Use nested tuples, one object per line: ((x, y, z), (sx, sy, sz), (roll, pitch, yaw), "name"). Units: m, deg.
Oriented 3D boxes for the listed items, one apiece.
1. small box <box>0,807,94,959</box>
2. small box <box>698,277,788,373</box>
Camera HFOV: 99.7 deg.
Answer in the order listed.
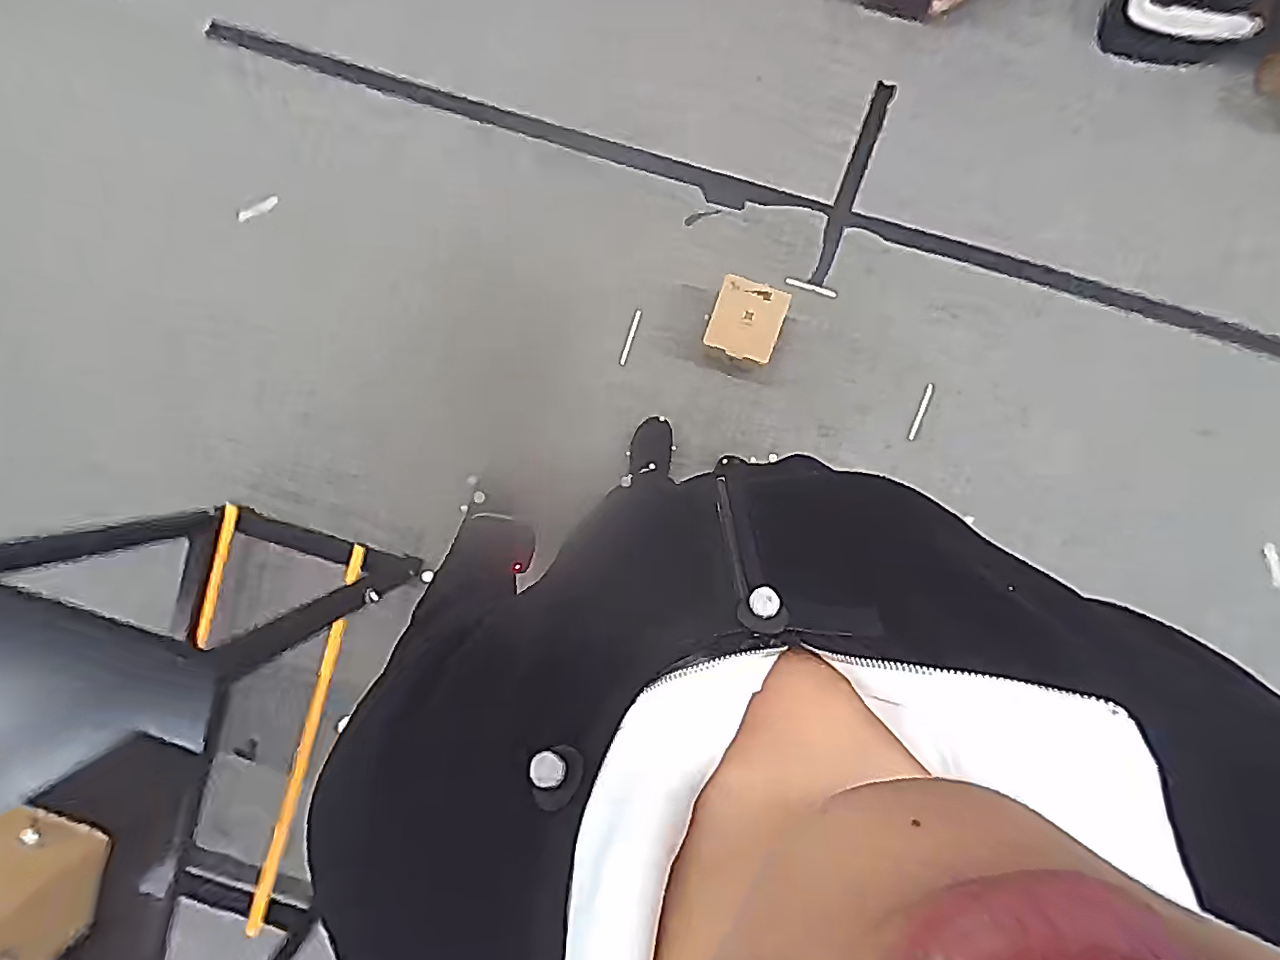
((-0.955, 0.624, 0.777), (0.168, 0.176, 0.179), (19, 95, 1), "small box")
((0.252, -0.380, 1.361), (0.168, 0.176, 0.179), (20, 96, 1), "small box")
